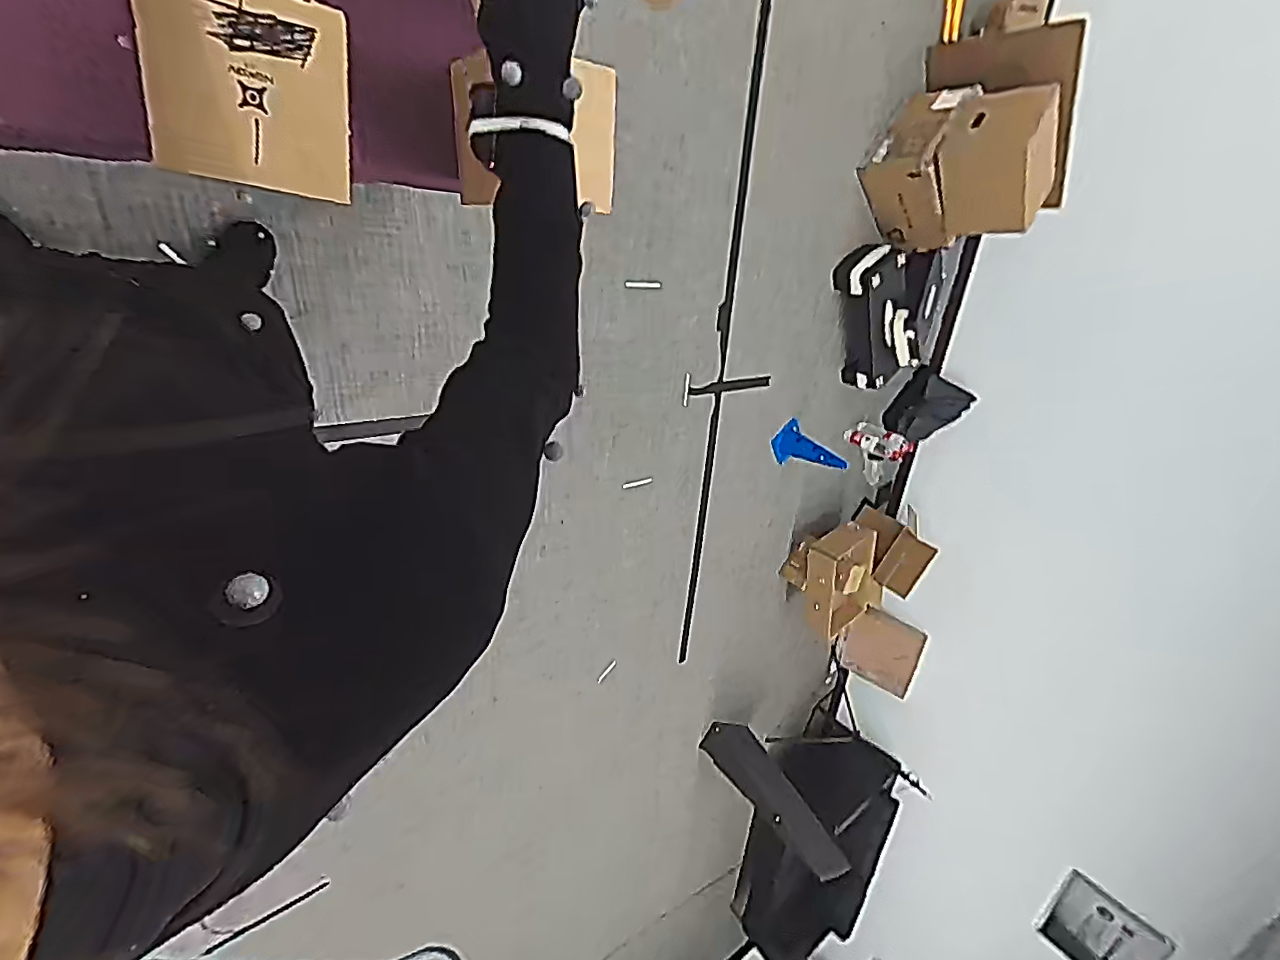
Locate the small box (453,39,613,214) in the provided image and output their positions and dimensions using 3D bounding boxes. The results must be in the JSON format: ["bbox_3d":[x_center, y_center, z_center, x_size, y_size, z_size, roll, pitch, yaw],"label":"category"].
[{"bbox_3d":[-0.153,-0.479,0.763,0.168,0.176,0.179,-14,120,-33],"label":"small box"}]

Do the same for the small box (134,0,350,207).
[{"bbox_3d":[-0.420,-0.406,0.578,0.168,0.176,0.179,-7,118,-38],"label":"small box"}]
